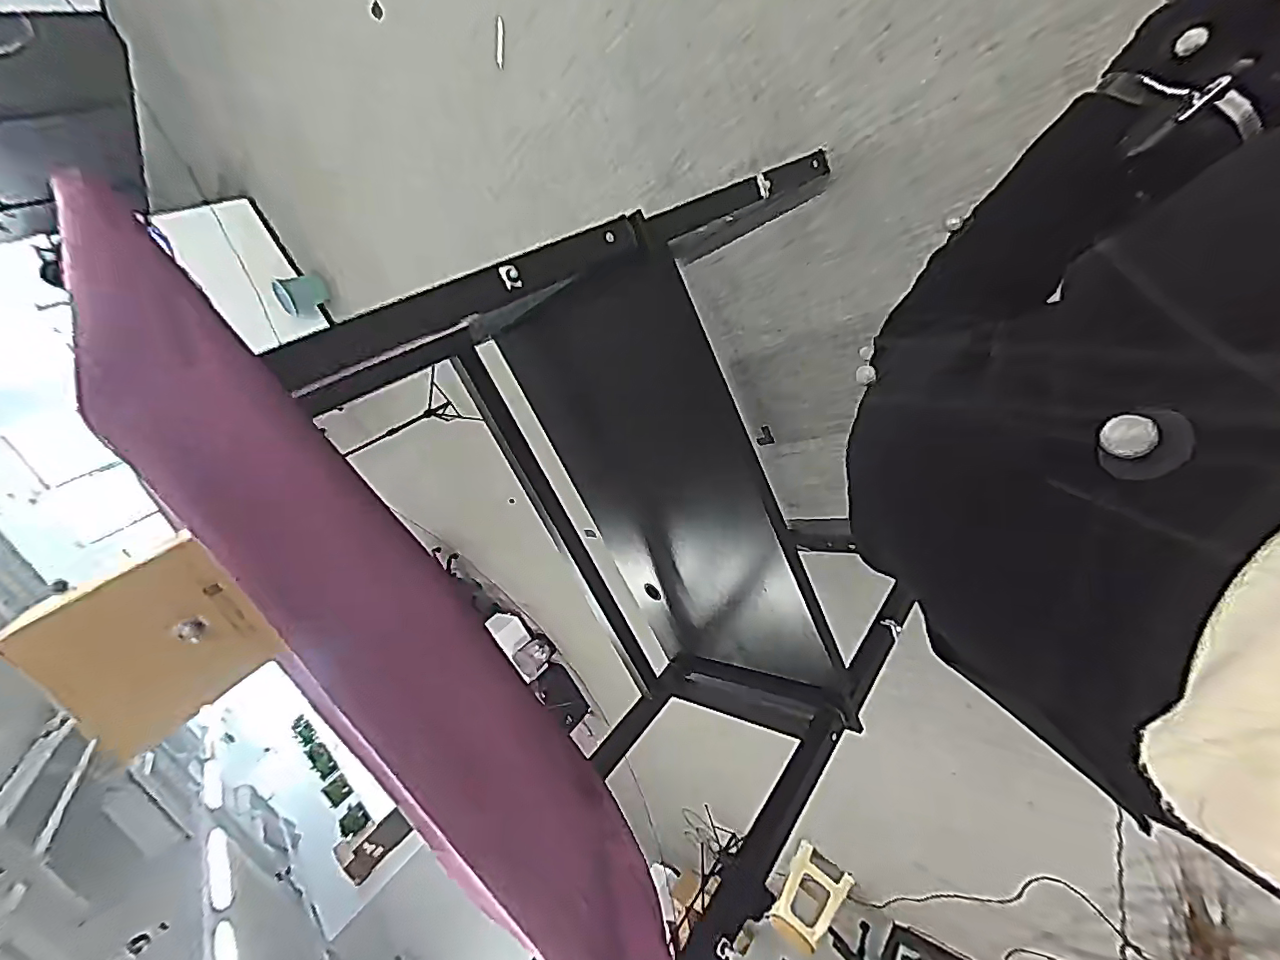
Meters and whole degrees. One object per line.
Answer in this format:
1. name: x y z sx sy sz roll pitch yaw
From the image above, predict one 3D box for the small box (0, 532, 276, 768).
1. small box: -0.551 0.173 0.612 0.179 0.176 0.168 -2 121 49
